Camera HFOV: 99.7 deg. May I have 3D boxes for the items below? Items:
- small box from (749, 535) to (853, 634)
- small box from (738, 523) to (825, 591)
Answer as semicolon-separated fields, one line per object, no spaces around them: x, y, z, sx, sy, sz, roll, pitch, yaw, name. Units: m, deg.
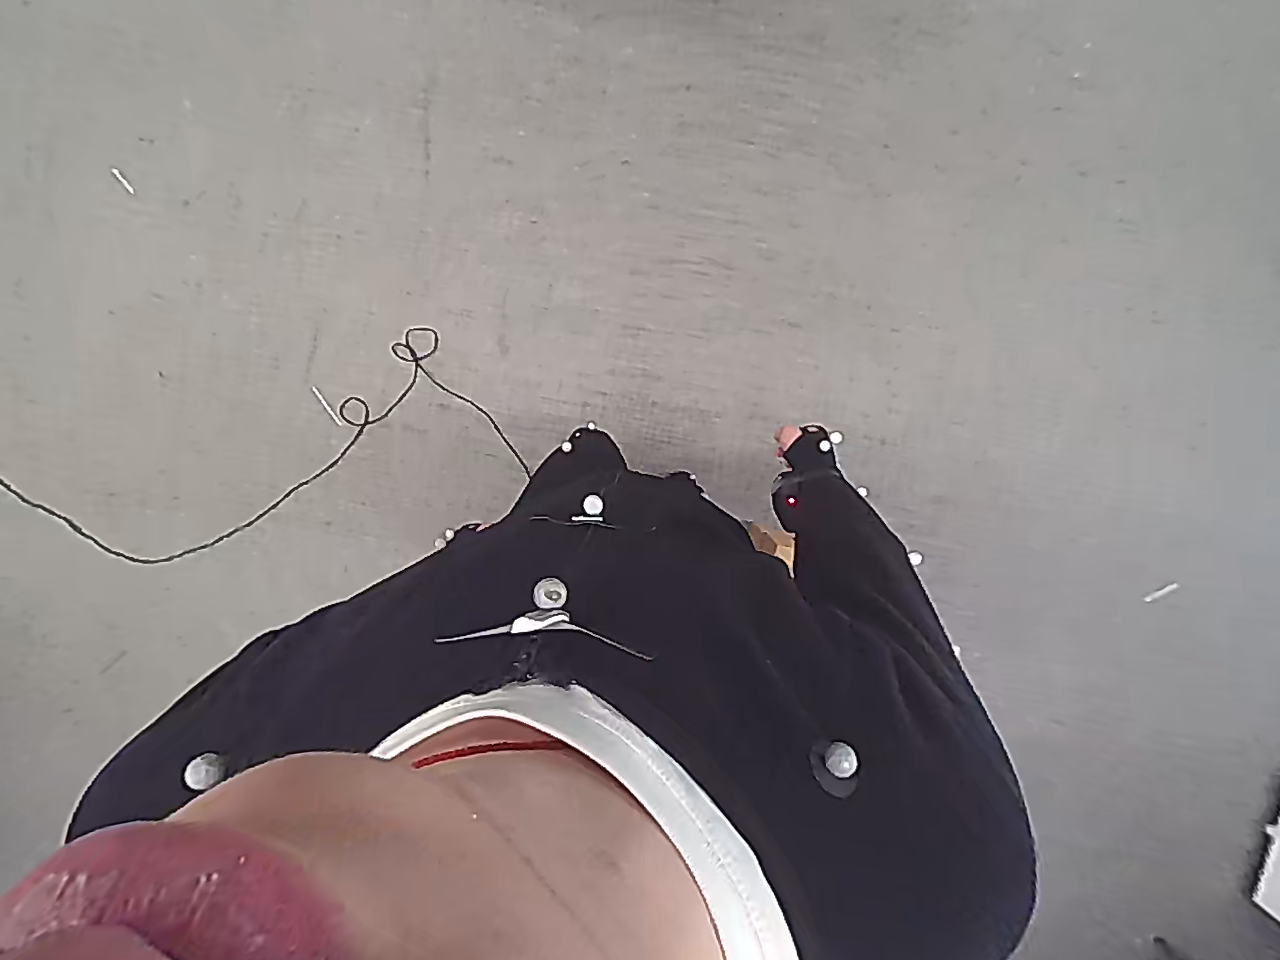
0.377;0.240;1.298;0.179;0.176;0.168;18;94;3;small box
0.378;0.225;1.463;0.179;0.176;0.168;17;95;2;small box
